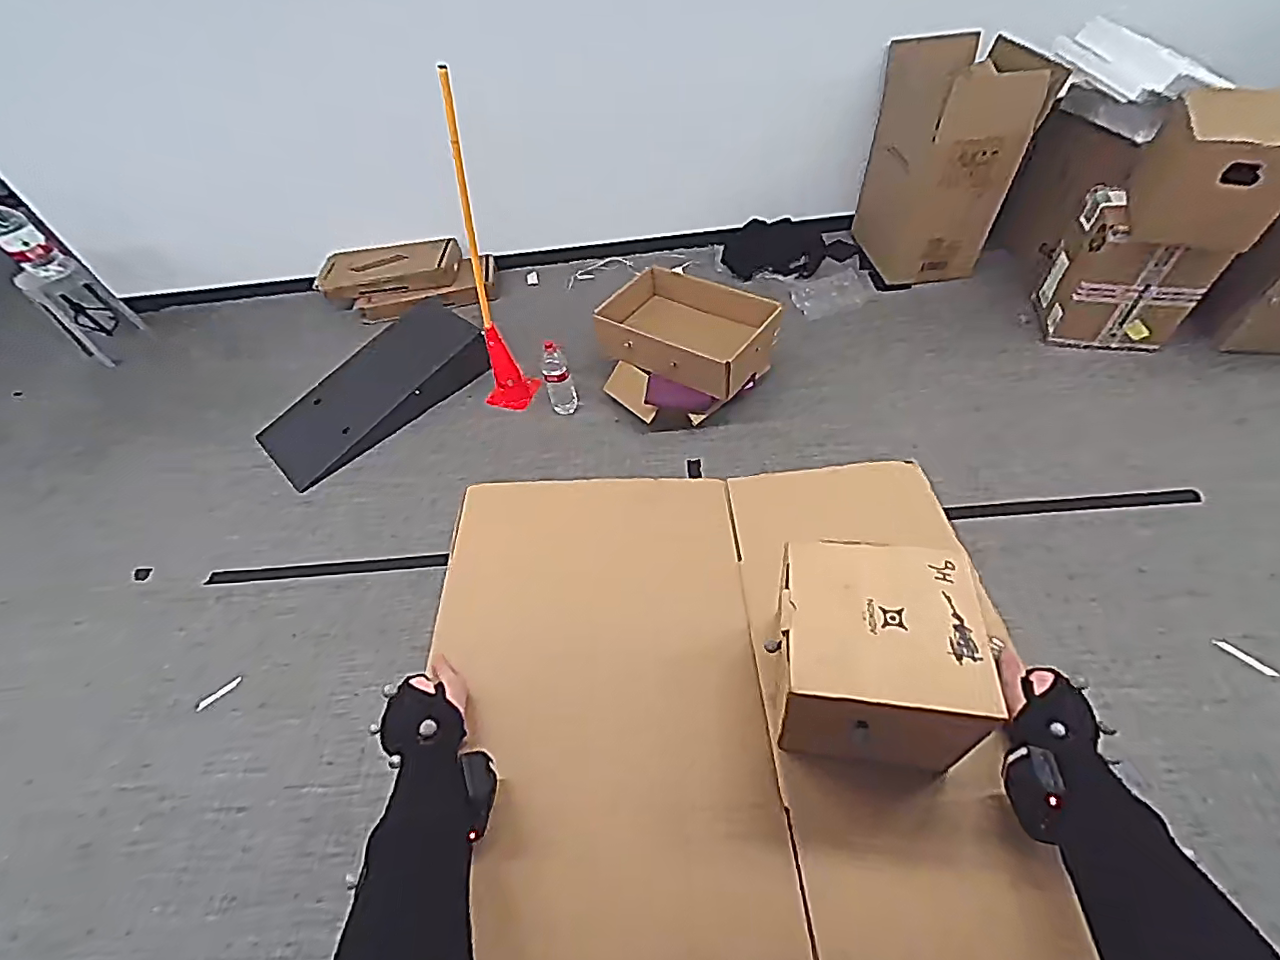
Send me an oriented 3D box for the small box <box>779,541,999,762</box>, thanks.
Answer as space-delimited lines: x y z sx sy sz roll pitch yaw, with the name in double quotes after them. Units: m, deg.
0.240 0.183 0.575 0.179 0.176 0.168 2 50 13 "small box"
